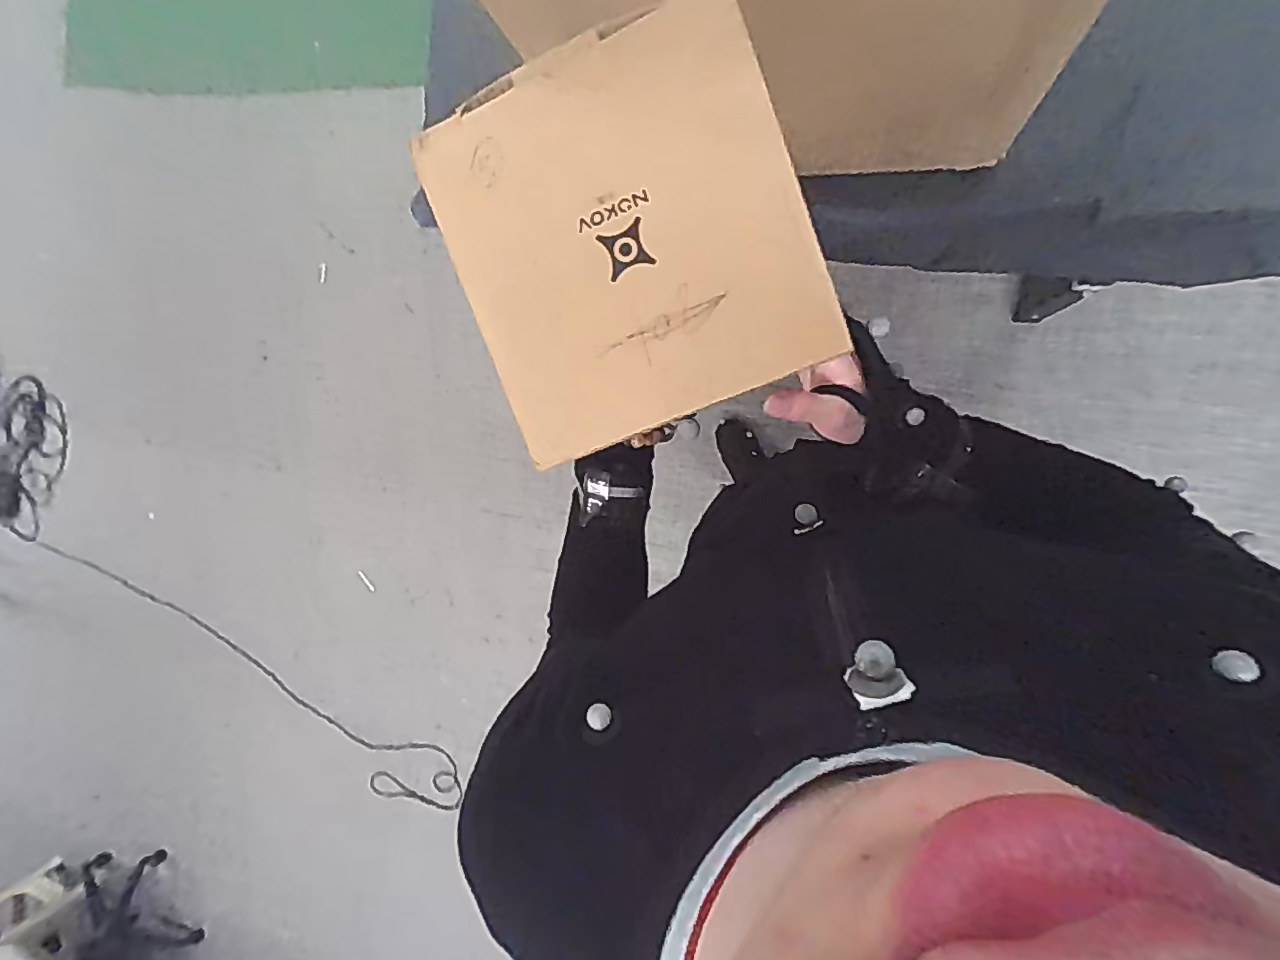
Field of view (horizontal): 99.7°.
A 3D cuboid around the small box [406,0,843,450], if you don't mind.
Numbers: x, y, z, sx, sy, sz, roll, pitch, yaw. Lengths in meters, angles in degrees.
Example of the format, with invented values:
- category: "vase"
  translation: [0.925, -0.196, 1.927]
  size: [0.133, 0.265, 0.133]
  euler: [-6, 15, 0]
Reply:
- category: "small box"
  translation: [0.001, -0.133, 0.334]
  size: [0.168, 0.176, 0.179]
  euler: [-20, 97, 11]
